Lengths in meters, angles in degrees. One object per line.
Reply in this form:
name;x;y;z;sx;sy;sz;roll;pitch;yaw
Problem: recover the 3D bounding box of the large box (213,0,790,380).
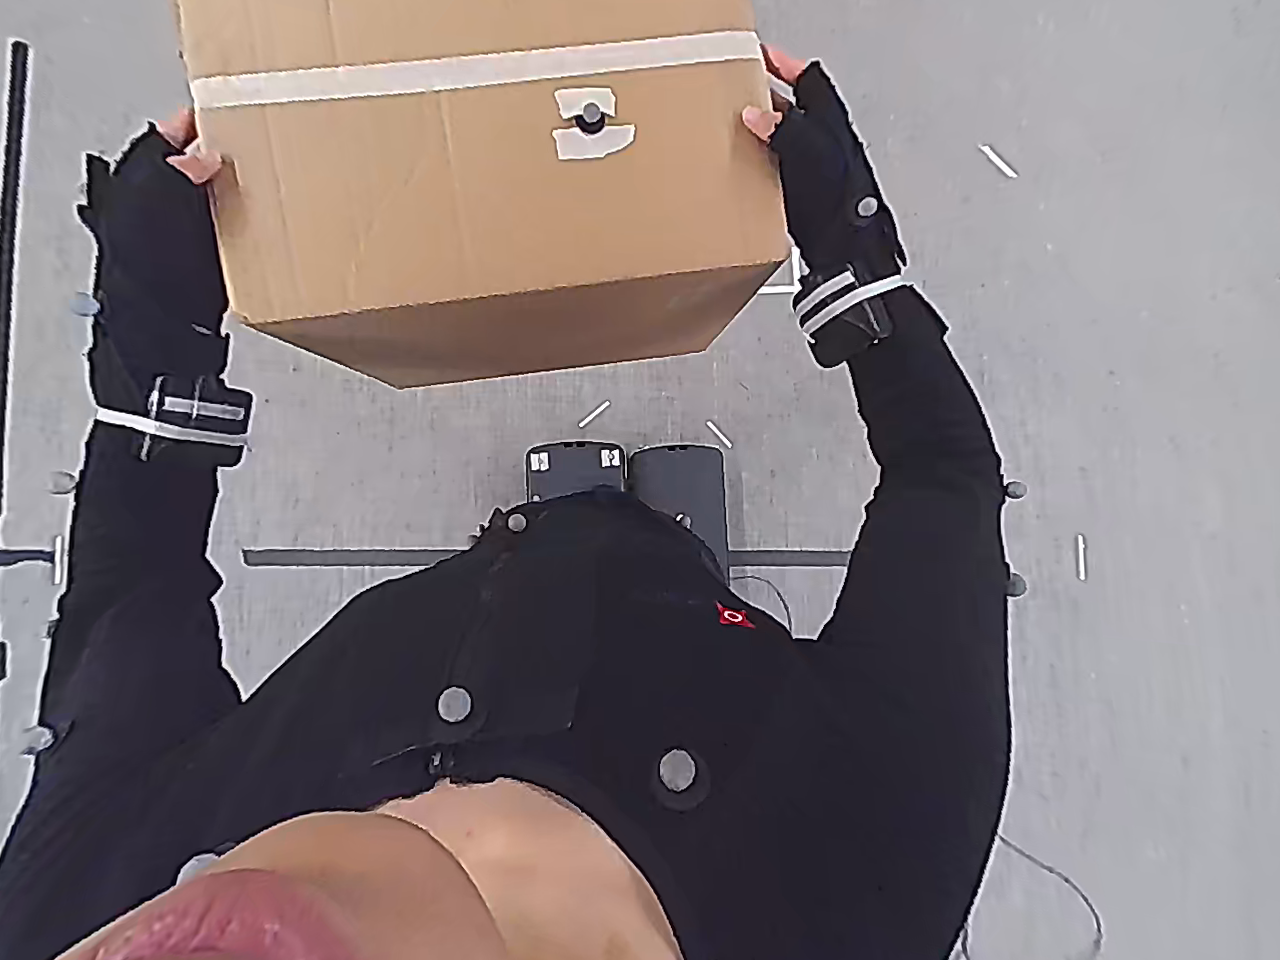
large box;-0.113;-0.305;0.551;0.408;0.320;0.320;-9;92;-5
